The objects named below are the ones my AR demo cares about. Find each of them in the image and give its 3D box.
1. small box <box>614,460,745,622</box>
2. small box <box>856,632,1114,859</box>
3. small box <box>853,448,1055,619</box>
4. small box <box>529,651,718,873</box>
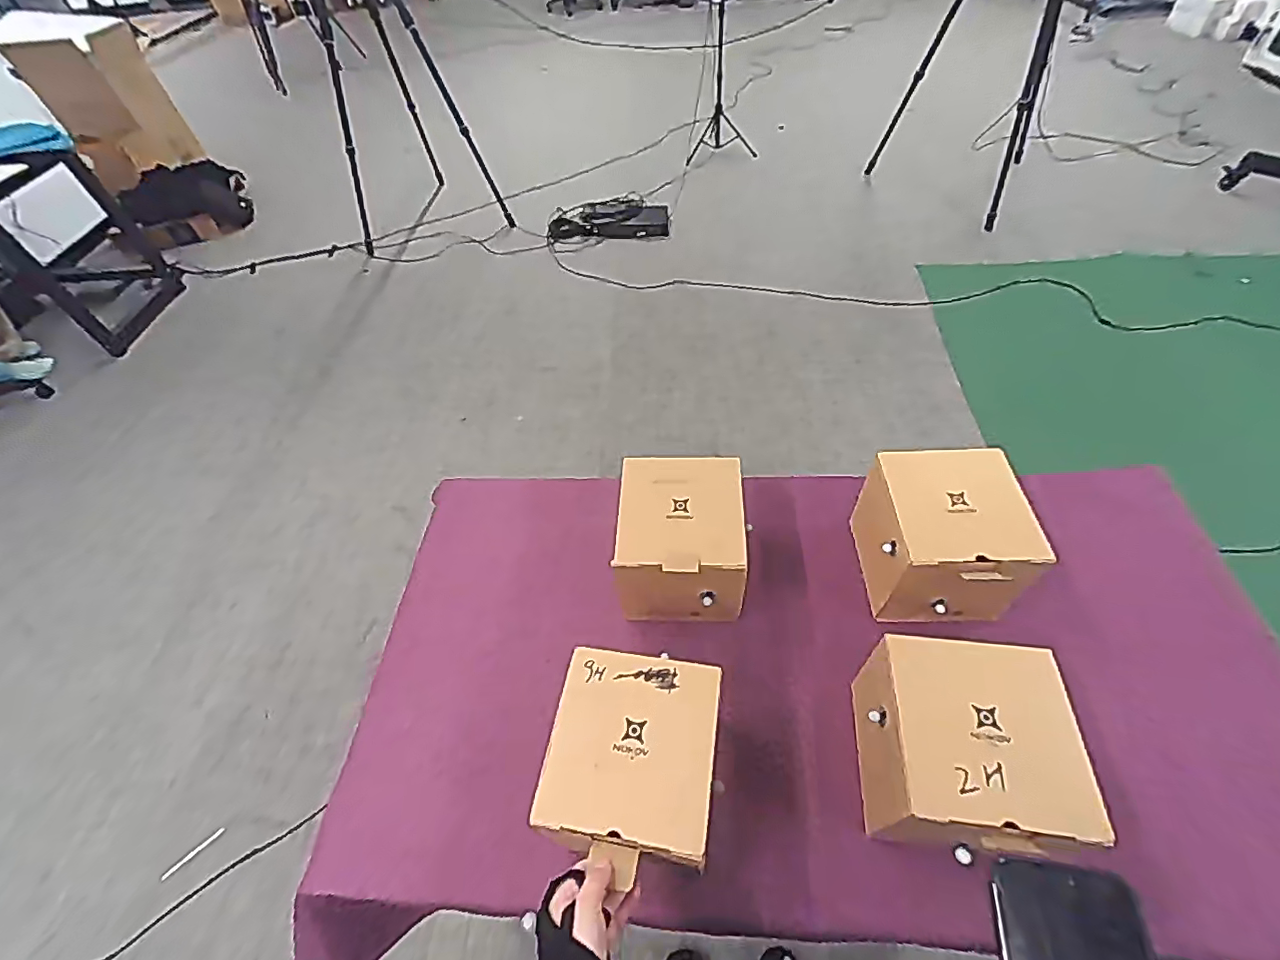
[{"bbox_3d":[0.060,0.091,0.773,0.168,0.176,0.179,0,52,5],"label":"small box"},{"bbox_3d":[0.342,0.286,0.584,0.168,0.176,0.179,3,52,9],"label":"small box"},{"bbox_3d":[0.408,0.076,0.745,0.168,0.176,0.179,-3,52,5],"label":"small box"},{"bbox_3d":[-0.003,0.314,0.599,0.168,0.176,0.179,5,51,10],"label":"small box"}]
